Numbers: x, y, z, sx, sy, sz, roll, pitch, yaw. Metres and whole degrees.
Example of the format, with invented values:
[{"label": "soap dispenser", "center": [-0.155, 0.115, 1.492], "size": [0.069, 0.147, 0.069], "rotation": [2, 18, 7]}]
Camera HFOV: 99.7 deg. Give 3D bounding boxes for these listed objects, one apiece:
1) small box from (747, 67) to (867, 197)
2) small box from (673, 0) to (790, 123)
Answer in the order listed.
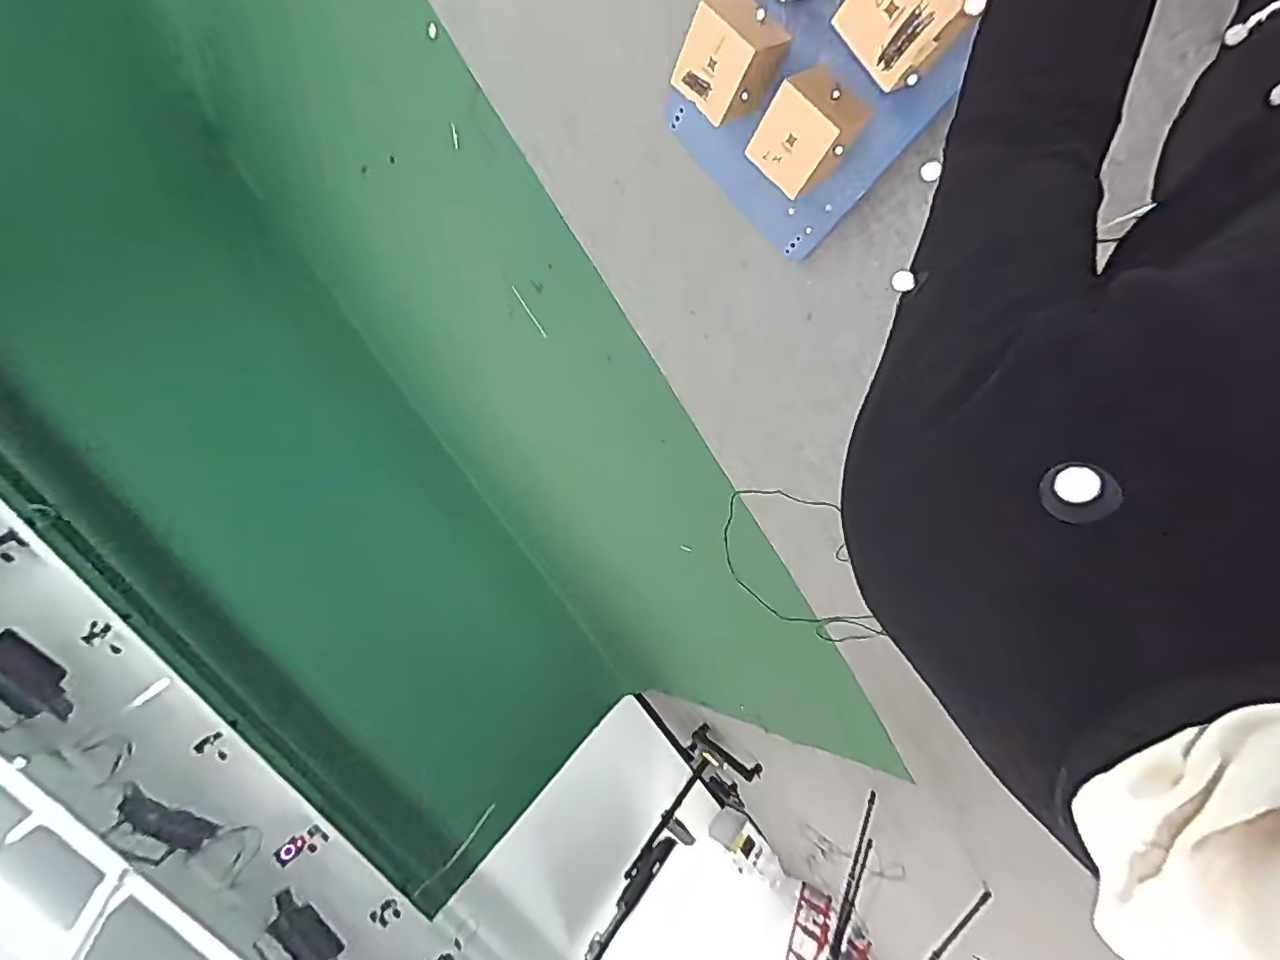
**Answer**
[{"label": "small box", "center": [0.386, -0.796, 1.231], "size": [0.168, 0.176, 0.179], "rotation": [47, 149, 4]}, {"label": "small box", "center": [0.212, -0.977, 1.247], "size": [0.168, 0.176, 0.179], "rotation": [46, 148, 3]}]
